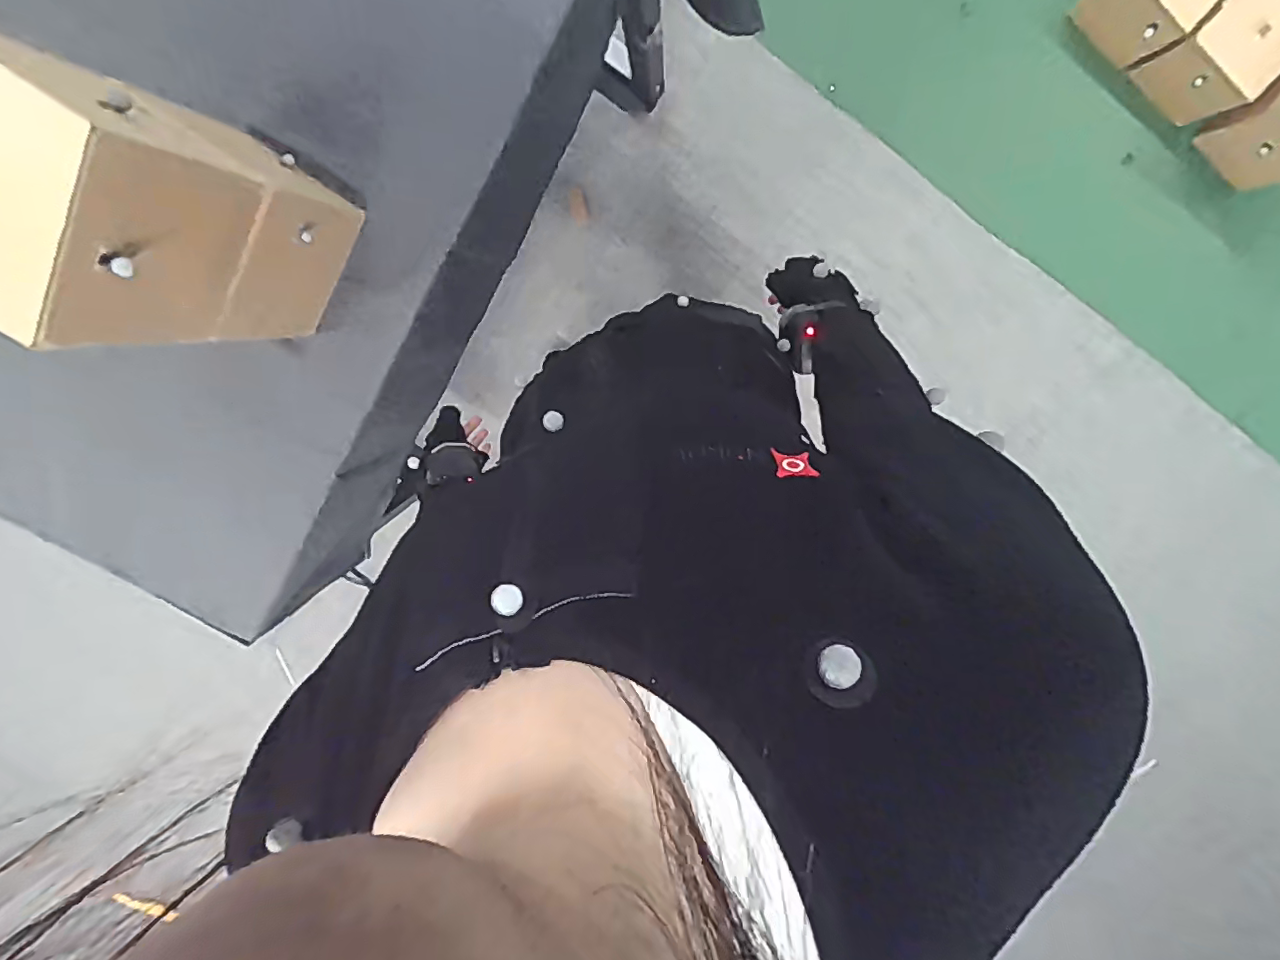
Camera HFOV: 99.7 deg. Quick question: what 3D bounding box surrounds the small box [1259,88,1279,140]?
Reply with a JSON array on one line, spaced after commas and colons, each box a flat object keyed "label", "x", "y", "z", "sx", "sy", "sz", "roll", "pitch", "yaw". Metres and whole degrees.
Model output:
[{"label": "small box", "x": 1.305, "y": -0.696, "z": 0.963, "sx": 0.179, "sy": 0.176, "sz": 0.168, "roll": 33, "pitch": 106, "yaw": -8}]

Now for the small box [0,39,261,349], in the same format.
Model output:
[{"label": "small box", "x": -0.466, "y": -0.233, "z": 0.451, "sx": 0.168, "sy": 0.176, "sz": 0.179, "roll": 32, "pitch": 106, "yaw": -7}]
